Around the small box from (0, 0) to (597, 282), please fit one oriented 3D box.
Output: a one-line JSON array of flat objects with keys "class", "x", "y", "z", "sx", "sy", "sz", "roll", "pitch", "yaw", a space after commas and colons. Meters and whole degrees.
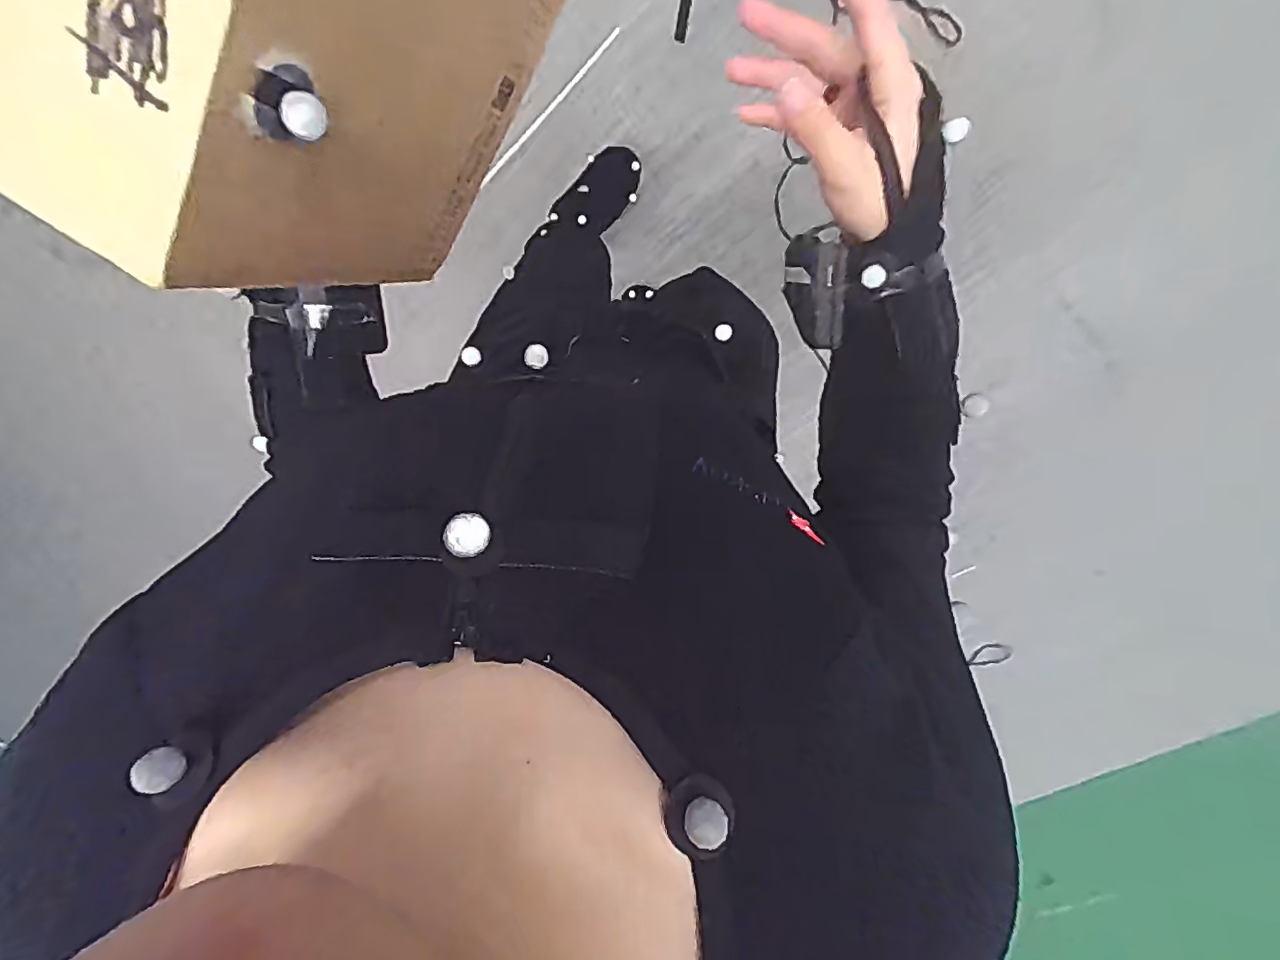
[{"class": "small box", "x": -0.142, "y": -0.195, "z": 0.208, "sx": 0.179, "sy": 0.176, "sz": 0.168, "roll": 35, "pitch": 112, "yaw": -5}]
